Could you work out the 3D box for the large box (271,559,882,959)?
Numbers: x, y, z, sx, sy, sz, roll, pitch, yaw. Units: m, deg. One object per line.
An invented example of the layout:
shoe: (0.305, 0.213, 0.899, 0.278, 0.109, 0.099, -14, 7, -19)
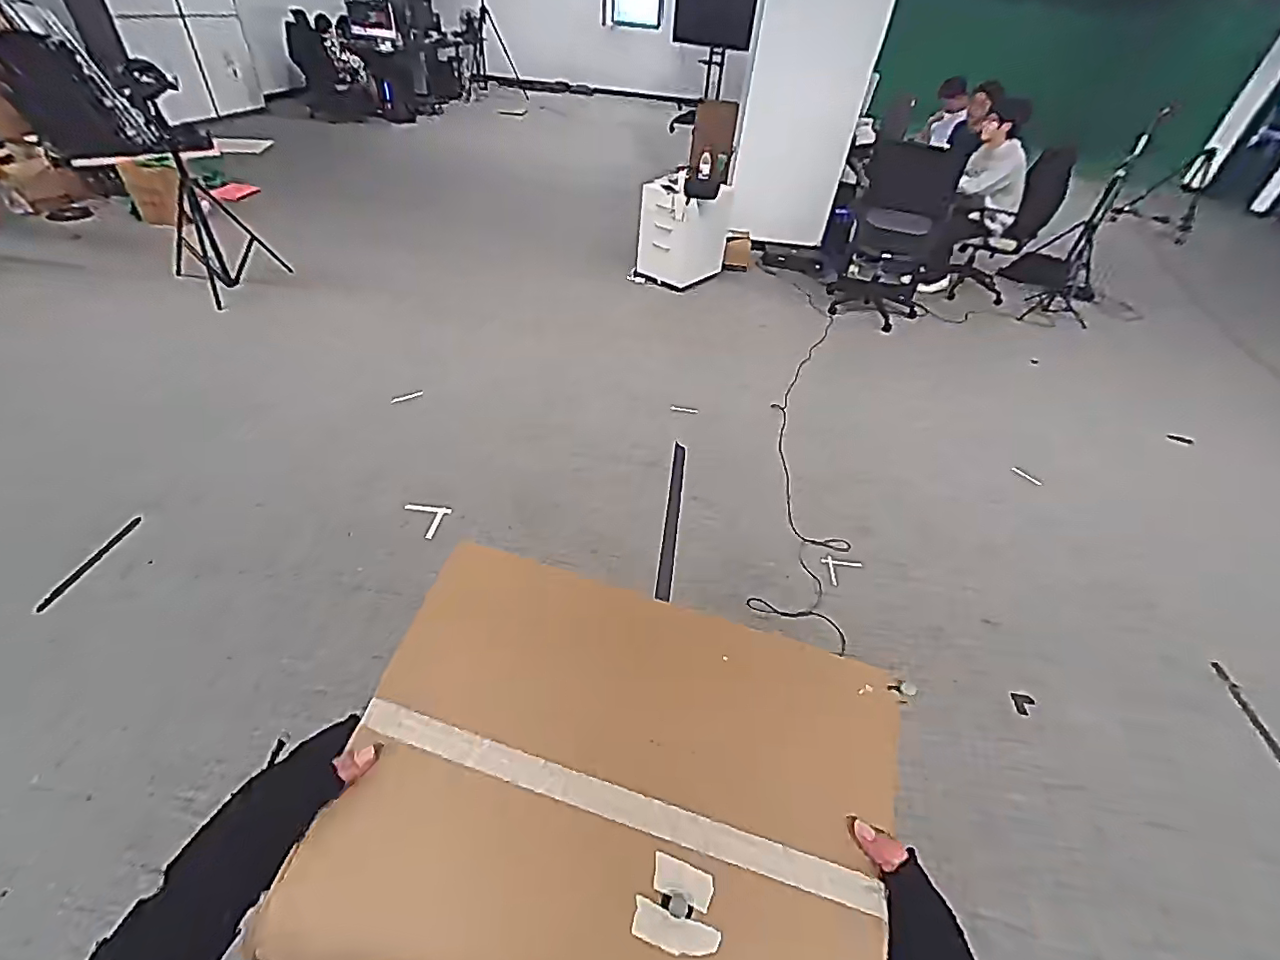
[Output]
large box: (-0.027, 0.323, 0.544, 0.408, 0.320, 0.320, 15, 60, 7)
